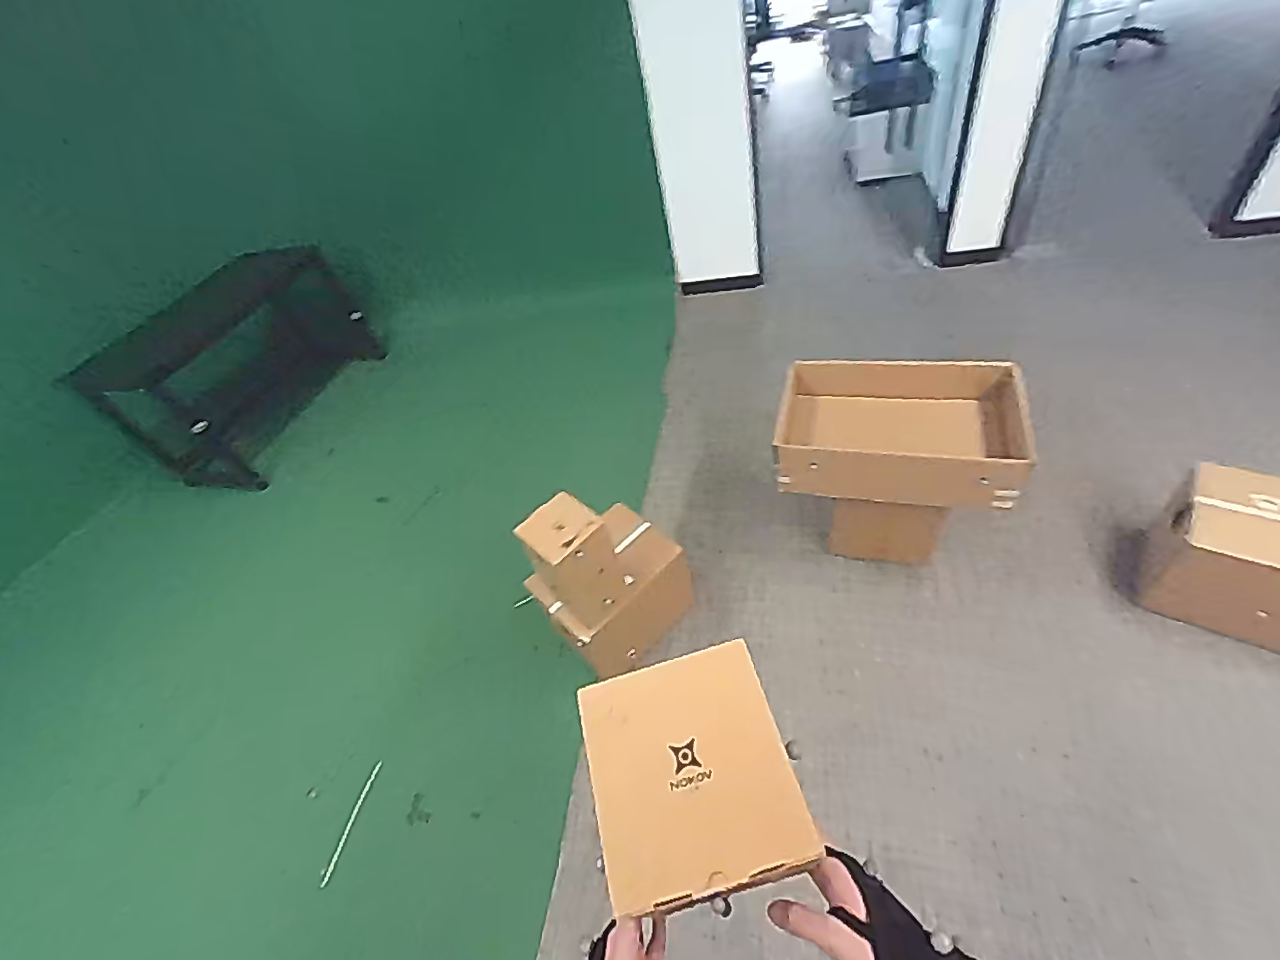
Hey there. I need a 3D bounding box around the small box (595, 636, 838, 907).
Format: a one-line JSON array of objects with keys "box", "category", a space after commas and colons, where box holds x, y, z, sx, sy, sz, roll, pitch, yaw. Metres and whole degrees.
[{"box": [0.065, 0.279, 0.515, 0.168, 0.176, 0.179, -16, 52, 0], "category": "small box"}]

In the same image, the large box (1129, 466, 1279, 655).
[{"box": [1.610, 0.218, 1.412, 0.408, 0.320, 0.320, 19, 55, 31], "category": "large box"}]

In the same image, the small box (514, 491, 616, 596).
[{"box": [-0.188, 0.165, 1.390, 0.179, 0.176, 0.168, 31, 62, 36], "category": "small box"}]

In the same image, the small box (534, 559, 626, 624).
[{"box": [-0.163, 0.270, 1.514, 0.168, 0.176, 0.179, -41, 52, -22], "category": "small box"}]
